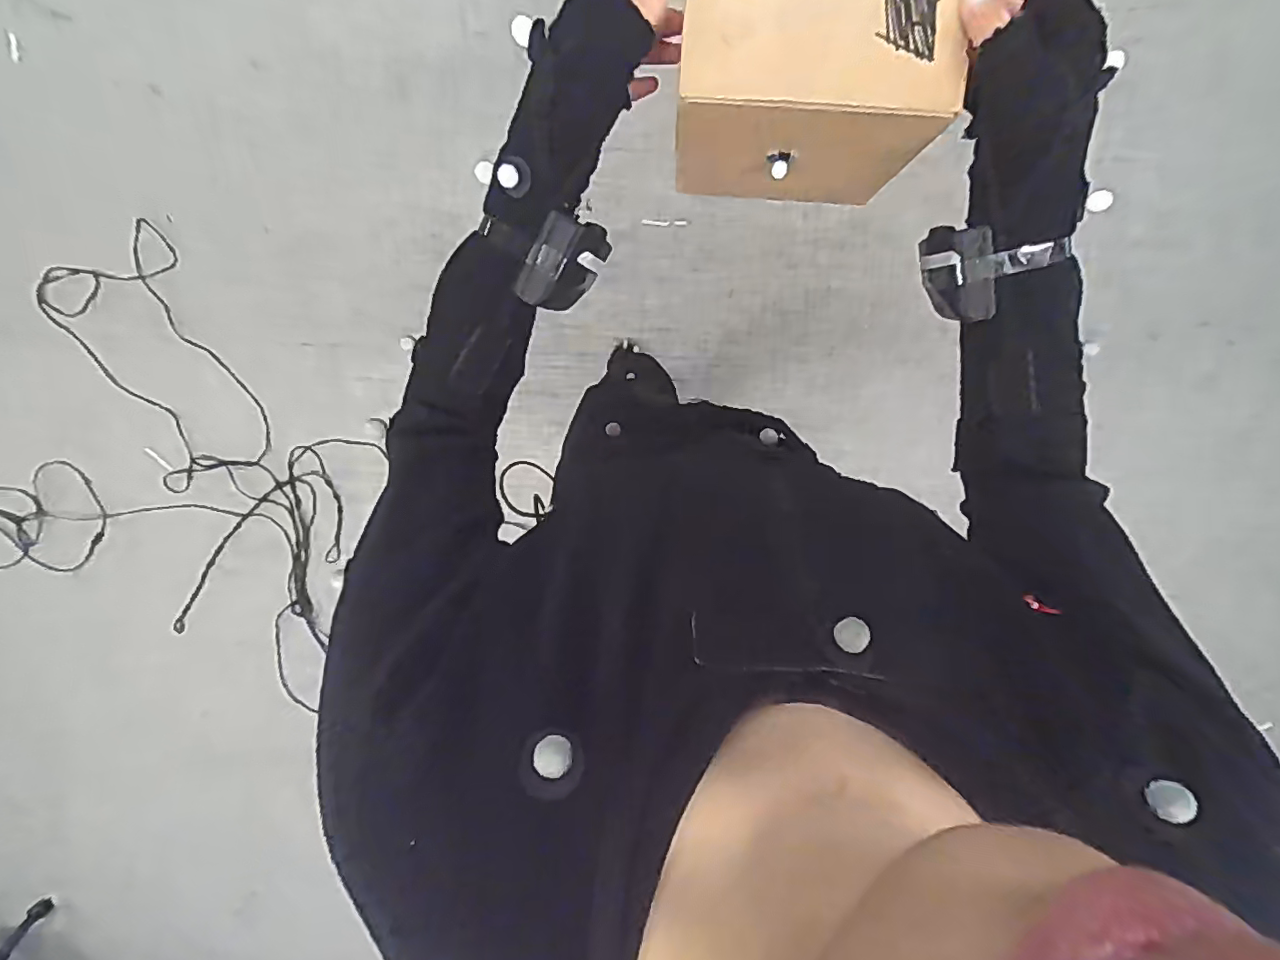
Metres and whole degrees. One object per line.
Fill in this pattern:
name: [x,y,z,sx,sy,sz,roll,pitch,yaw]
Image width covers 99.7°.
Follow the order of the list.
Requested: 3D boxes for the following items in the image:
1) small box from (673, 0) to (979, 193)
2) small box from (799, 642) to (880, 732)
small box: [0.119,-0.327,0.394,0.179,0.176,0.168,5,99,3]
small box: [0.528,0.545,1.450,0.168,0.176,0.179,-2,98,3]
